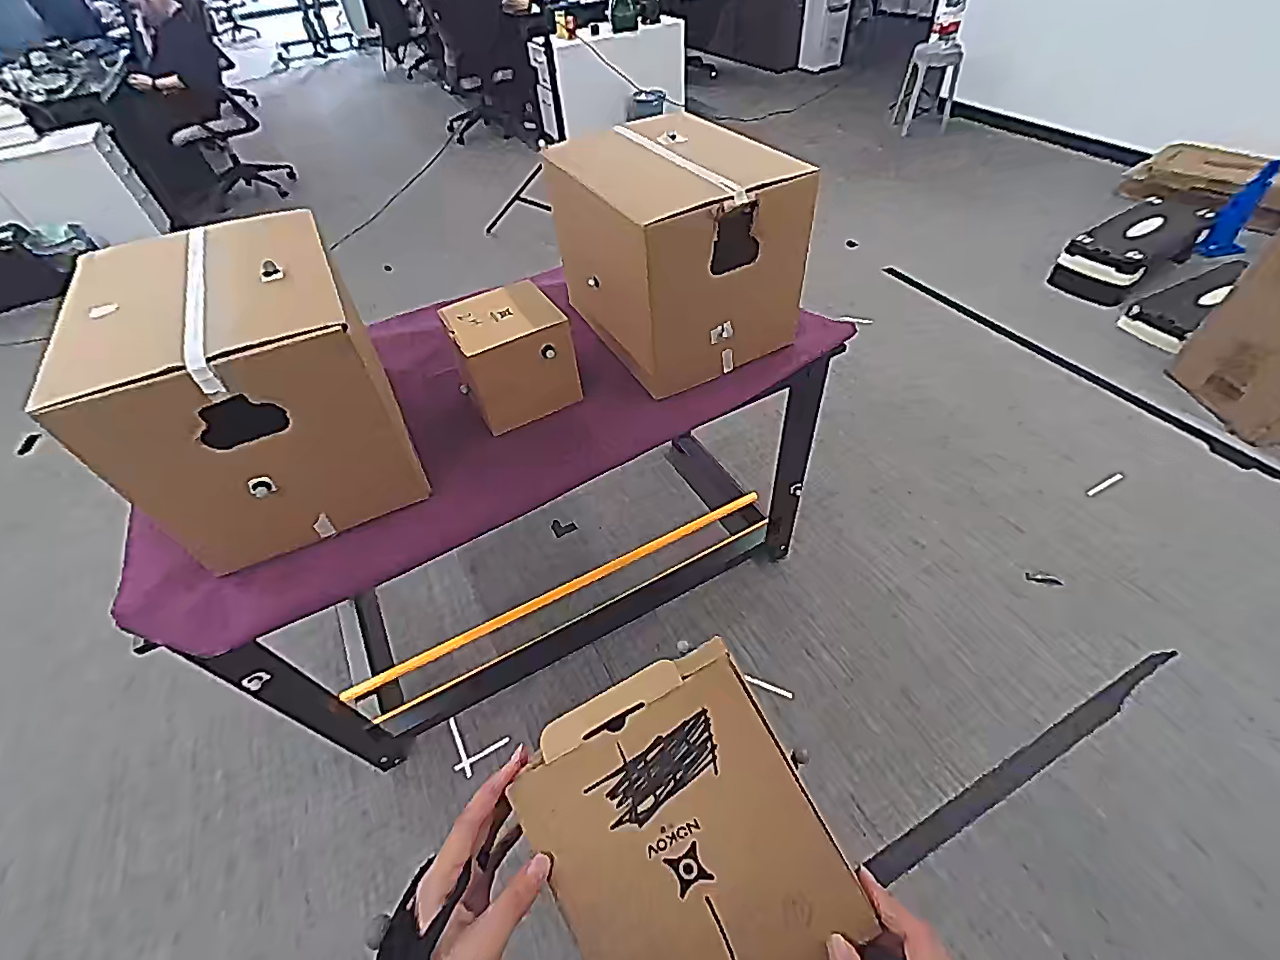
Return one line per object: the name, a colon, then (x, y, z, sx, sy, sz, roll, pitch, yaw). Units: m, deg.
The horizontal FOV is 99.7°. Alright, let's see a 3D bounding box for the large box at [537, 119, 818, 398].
large box: (0.057, -0.418, 0.998, 0.320, 0.320, 0.408, -24, 50, -16)
